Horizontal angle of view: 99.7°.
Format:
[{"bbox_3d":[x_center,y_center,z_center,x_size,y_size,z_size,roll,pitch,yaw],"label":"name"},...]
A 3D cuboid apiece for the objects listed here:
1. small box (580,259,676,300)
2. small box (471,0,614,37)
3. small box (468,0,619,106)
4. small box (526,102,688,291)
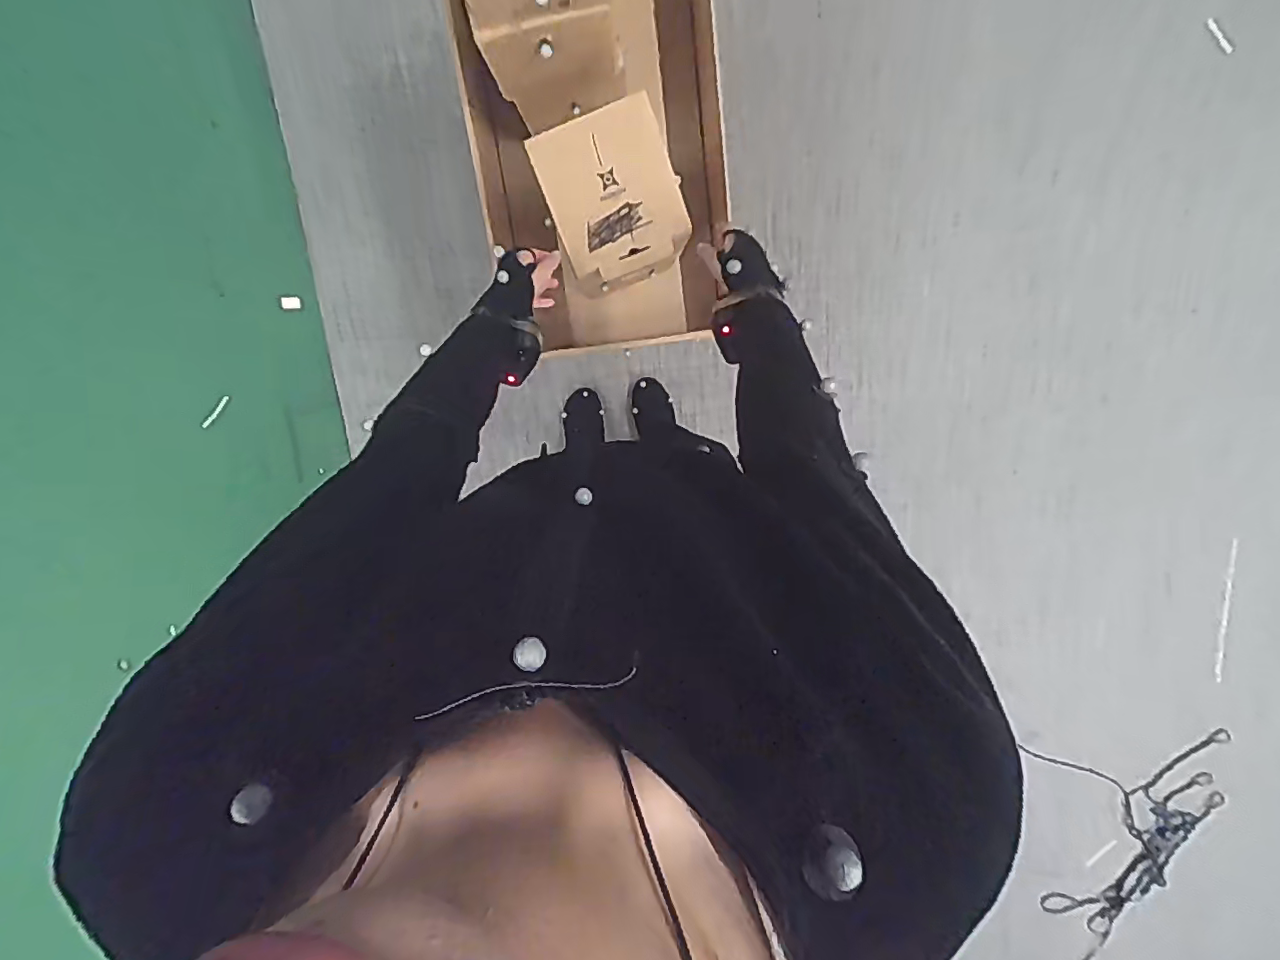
[{"bbox_3d":[-0.045,-0.421,0.930,0.168,0.176,0.179,-20,102,3],"label":"small box"},{"bbox_3d":[-0.122,-0.607,0.549,0.168,0.176,0.179,-9,104,3],"label":"small box"},{"bbox_3d":[-0.127,-0.634,0.713,0.179,0.176,0.168,-11,103,3],"label":"small box"},{"bbox_3d":[-0.041,-0.382,0.771,0.168,0.176,0.179,-21,101,3],"label":"small box"}]
